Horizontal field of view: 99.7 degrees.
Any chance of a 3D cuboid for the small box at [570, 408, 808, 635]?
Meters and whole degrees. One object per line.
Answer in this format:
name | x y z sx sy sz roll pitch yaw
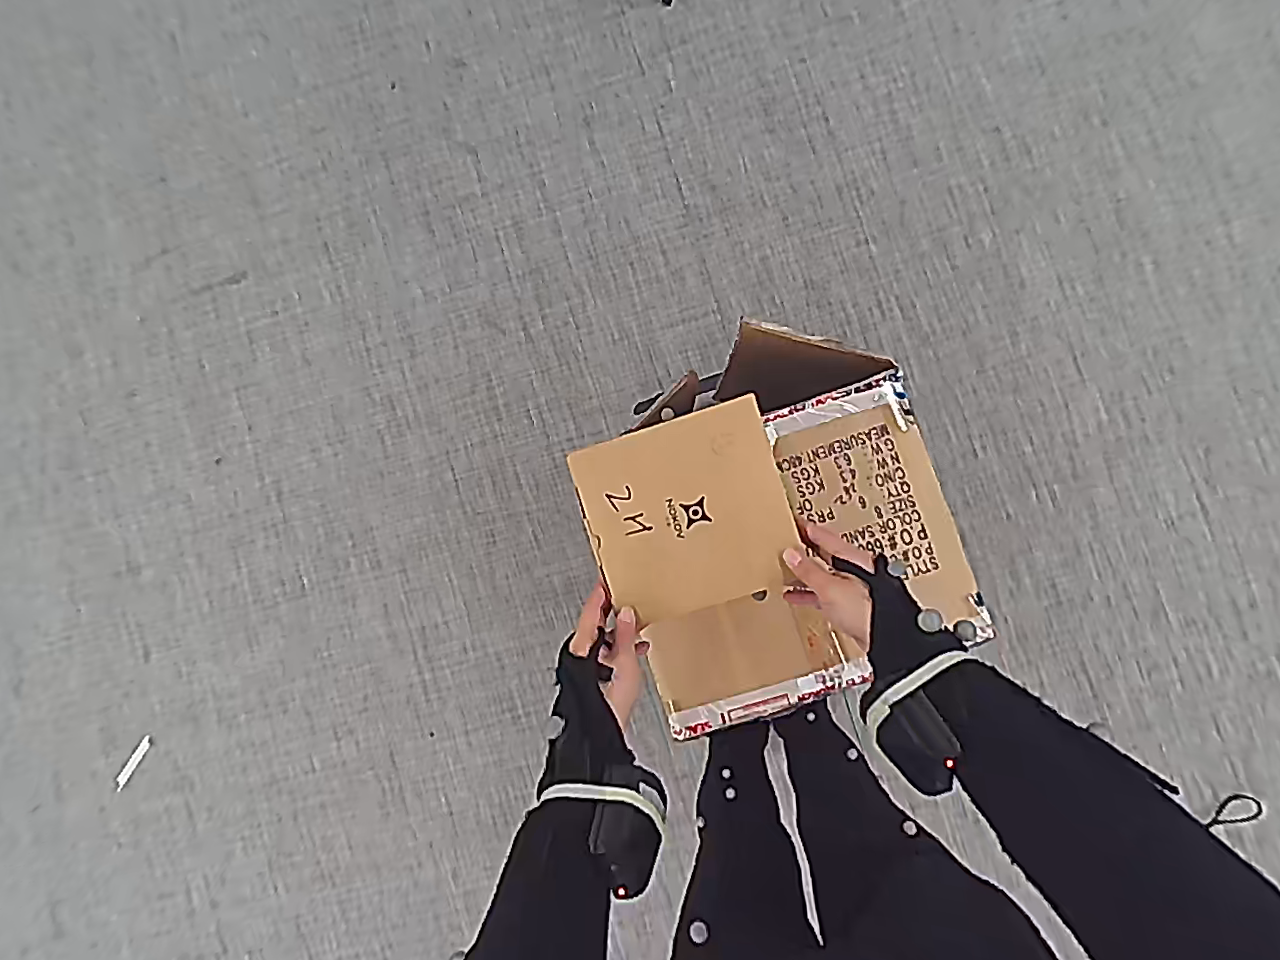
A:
small box | 0.048 0.036 0.555 0.179 0.176 0.168 -18 88 6
